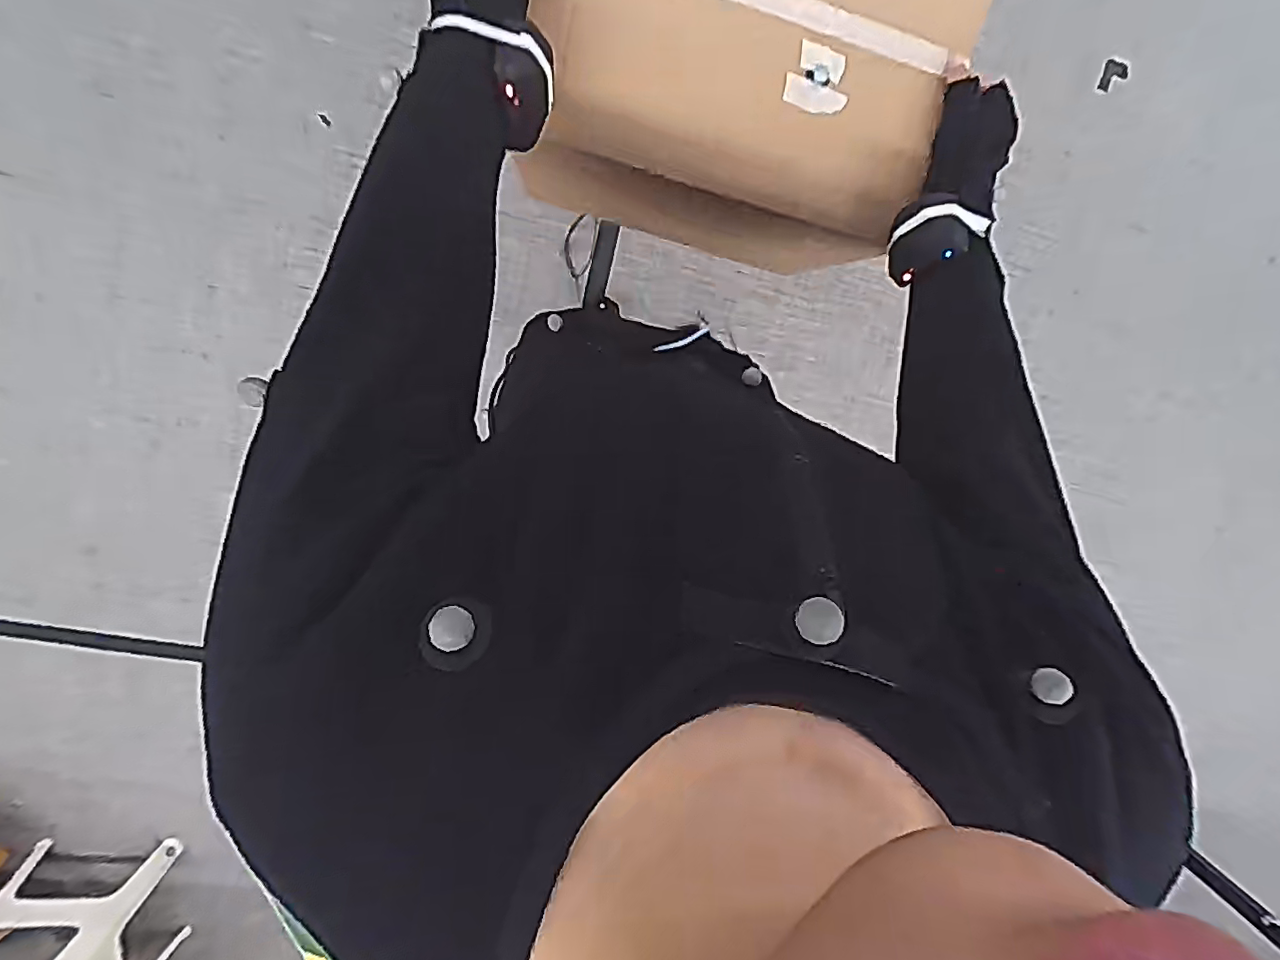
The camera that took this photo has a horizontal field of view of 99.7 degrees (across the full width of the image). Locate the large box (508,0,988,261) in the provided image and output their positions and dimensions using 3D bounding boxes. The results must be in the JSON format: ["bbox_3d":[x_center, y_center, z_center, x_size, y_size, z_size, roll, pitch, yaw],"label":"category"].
[{"bbox_3d":[0.091,-0.470,0.610,0.408,0.320,0.320,13,106,-11],"label":"large box"}]
